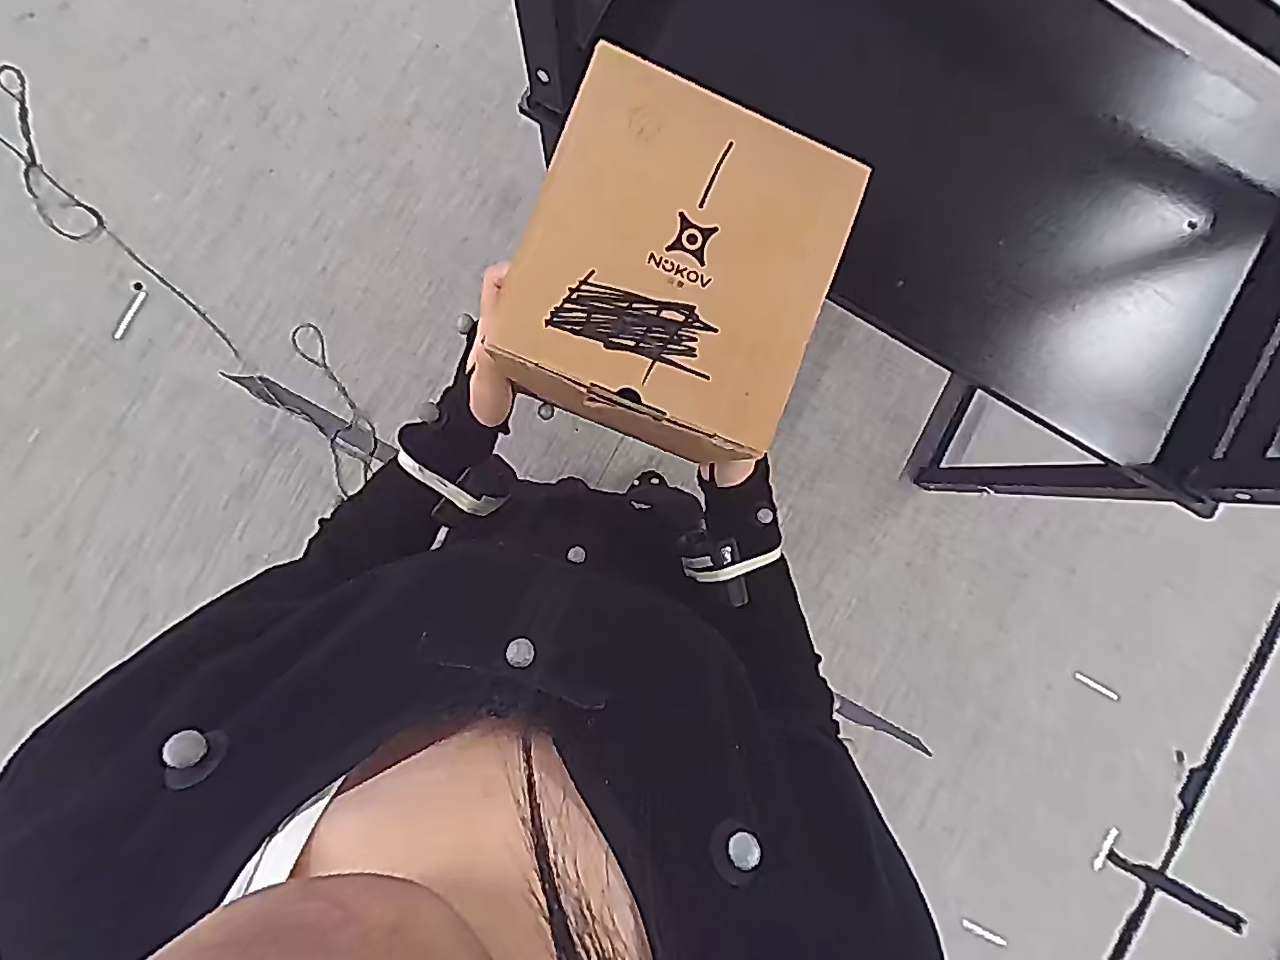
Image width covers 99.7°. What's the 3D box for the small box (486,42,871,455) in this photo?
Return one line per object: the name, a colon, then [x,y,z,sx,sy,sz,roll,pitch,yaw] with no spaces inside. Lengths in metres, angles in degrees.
small box: [0.016,-0.123,0.370,0.168,0.176,0.179,21,88,-6]
